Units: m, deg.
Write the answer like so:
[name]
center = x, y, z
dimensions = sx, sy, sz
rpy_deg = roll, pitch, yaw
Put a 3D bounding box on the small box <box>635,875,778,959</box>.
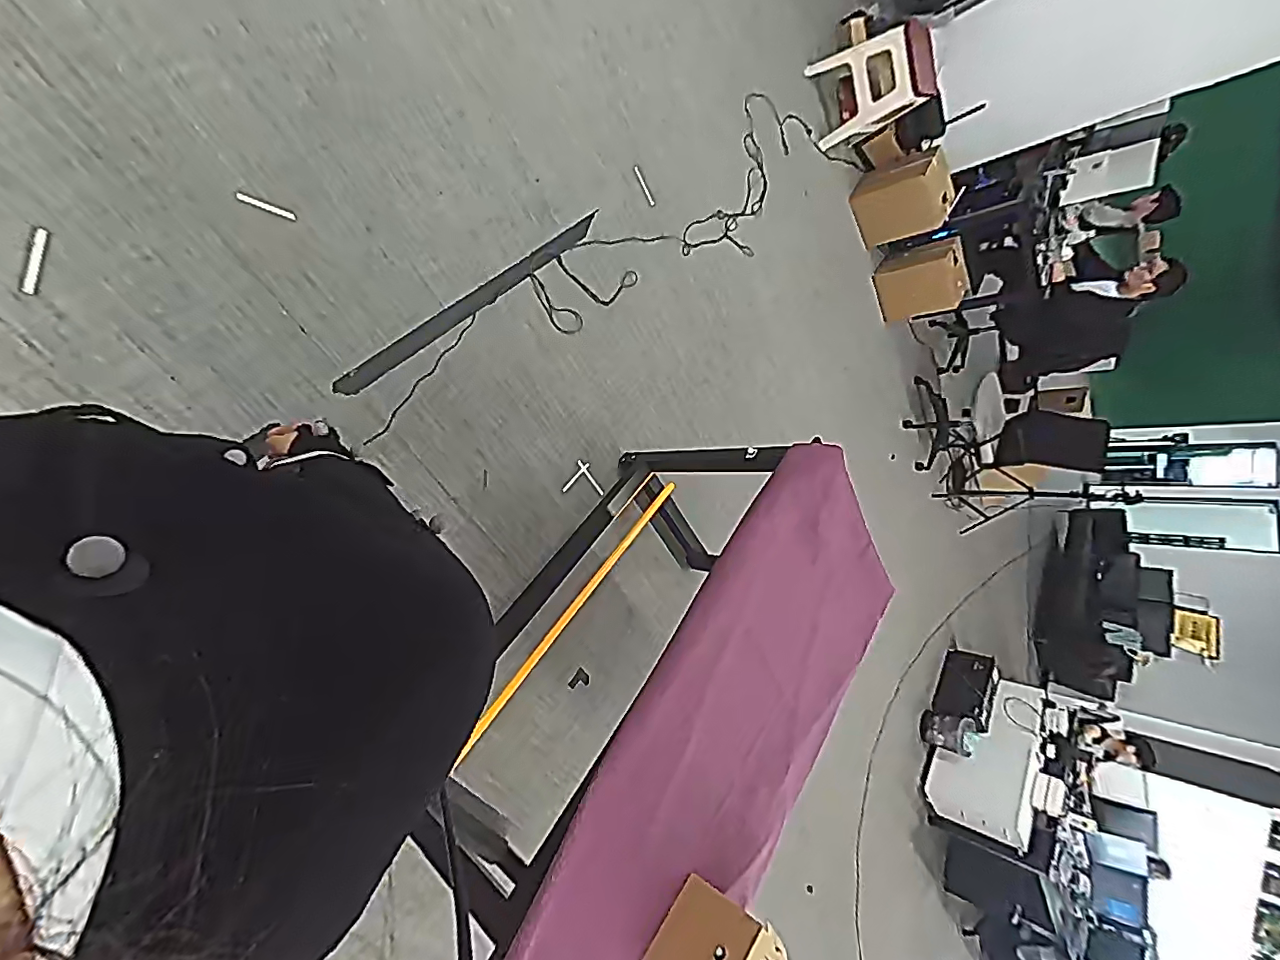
[small box]
center = 0.119, 0.877, 0.983
dimensions = 0.179, 0.176, 0.168
rpy_deg = -44, 118, -33
